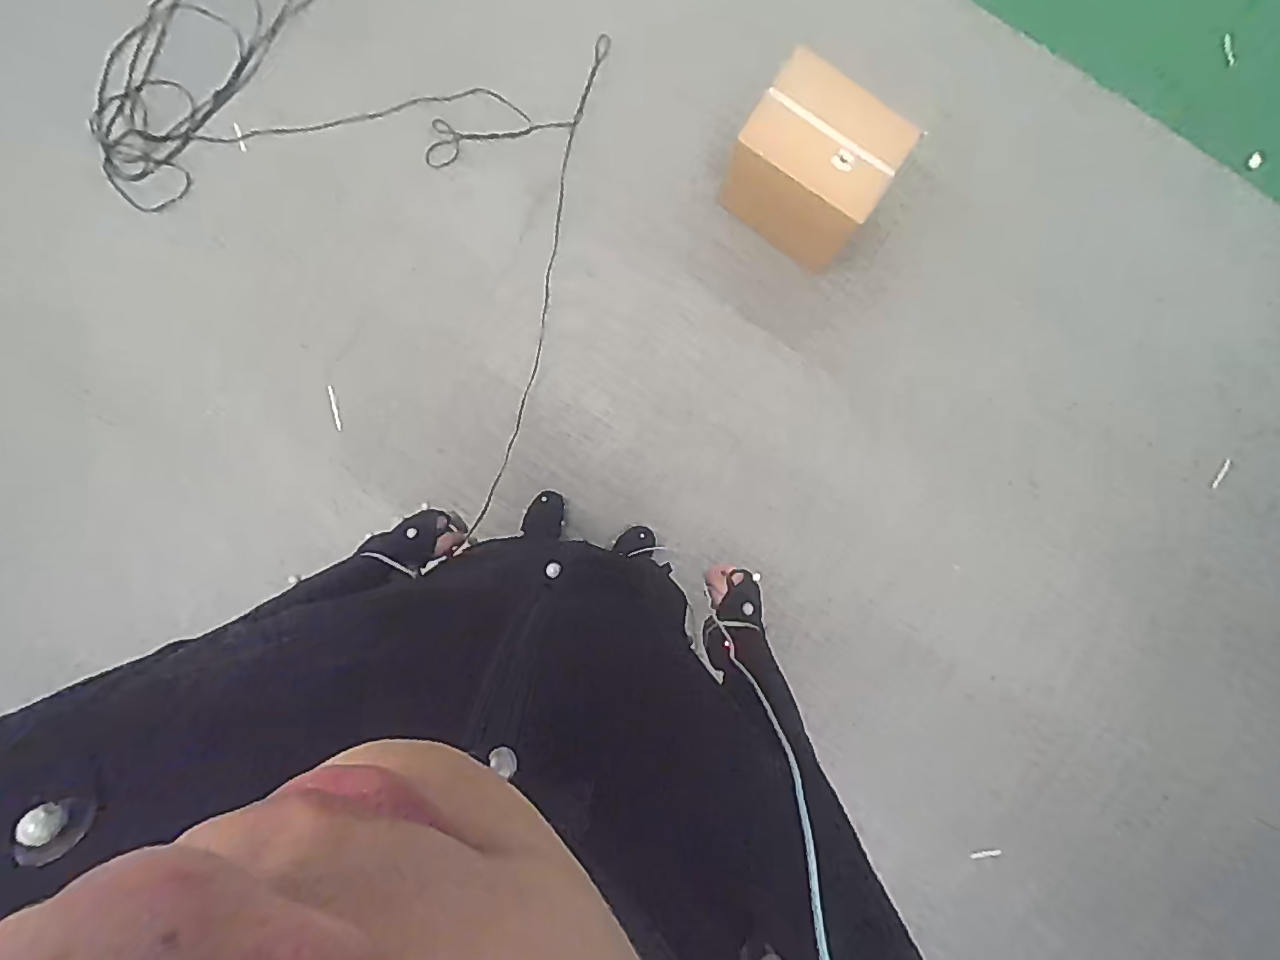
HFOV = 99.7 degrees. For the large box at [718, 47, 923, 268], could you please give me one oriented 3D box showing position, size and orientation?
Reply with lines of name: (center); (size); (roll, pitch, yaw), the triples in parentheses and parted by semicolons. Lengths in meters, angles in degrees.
large box: (0.493, -0.902, 1.562); (0.408, 0.320, 0.320); (34, 87, -1)
